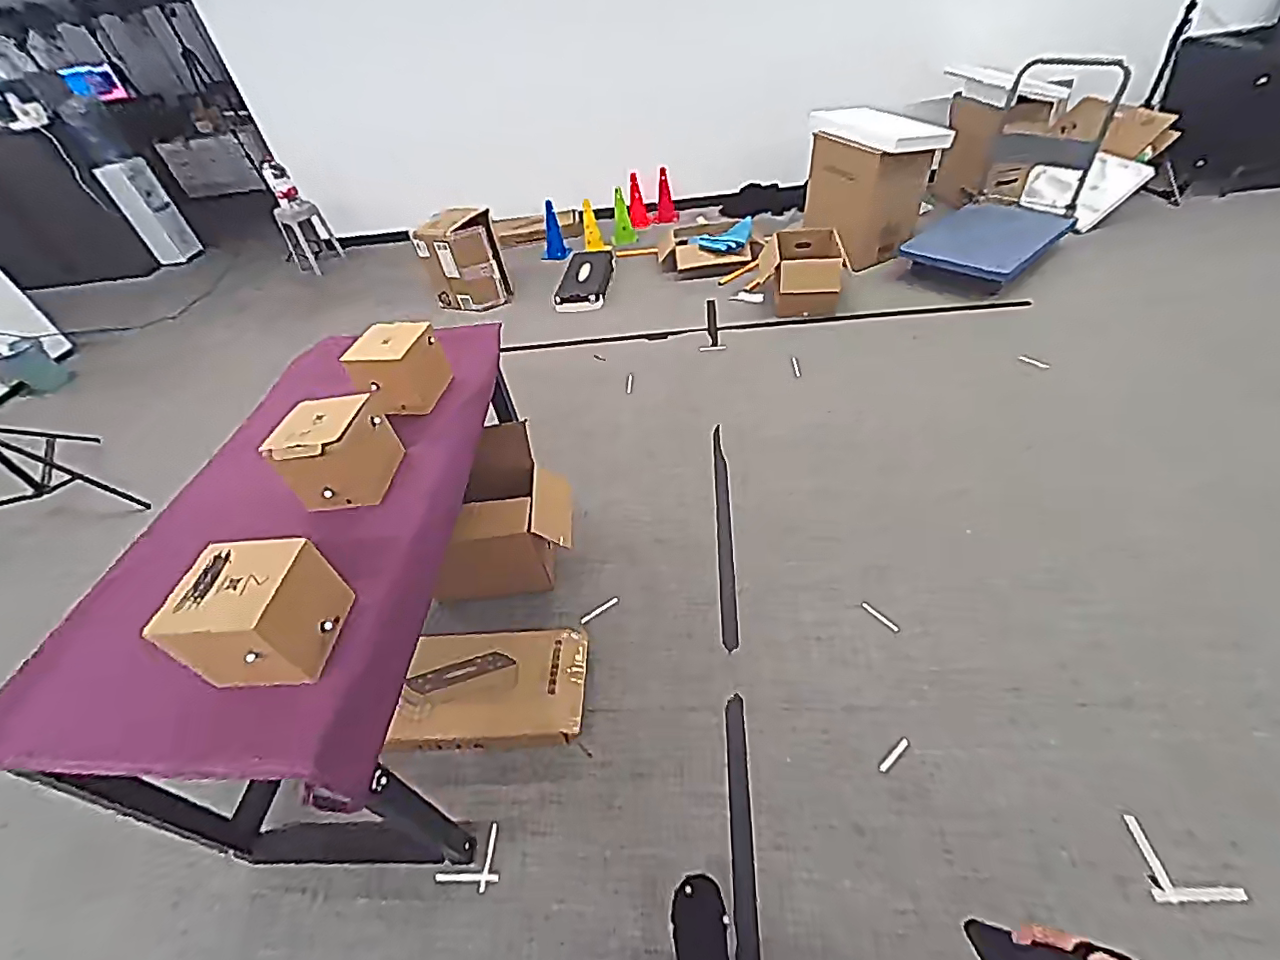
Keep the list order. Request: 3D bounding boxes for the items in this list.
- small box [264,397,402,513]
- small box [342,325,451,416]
[{"bbox_3d":[-0.635,-0.053,1.151,0.168,0.176,0.179,-6,44,7],"label":"small box"},{"bbox_3d":[-0.607,-0.274,1.378,0.168,0.176,0.179,0,44,10],"label":"small box"}]
